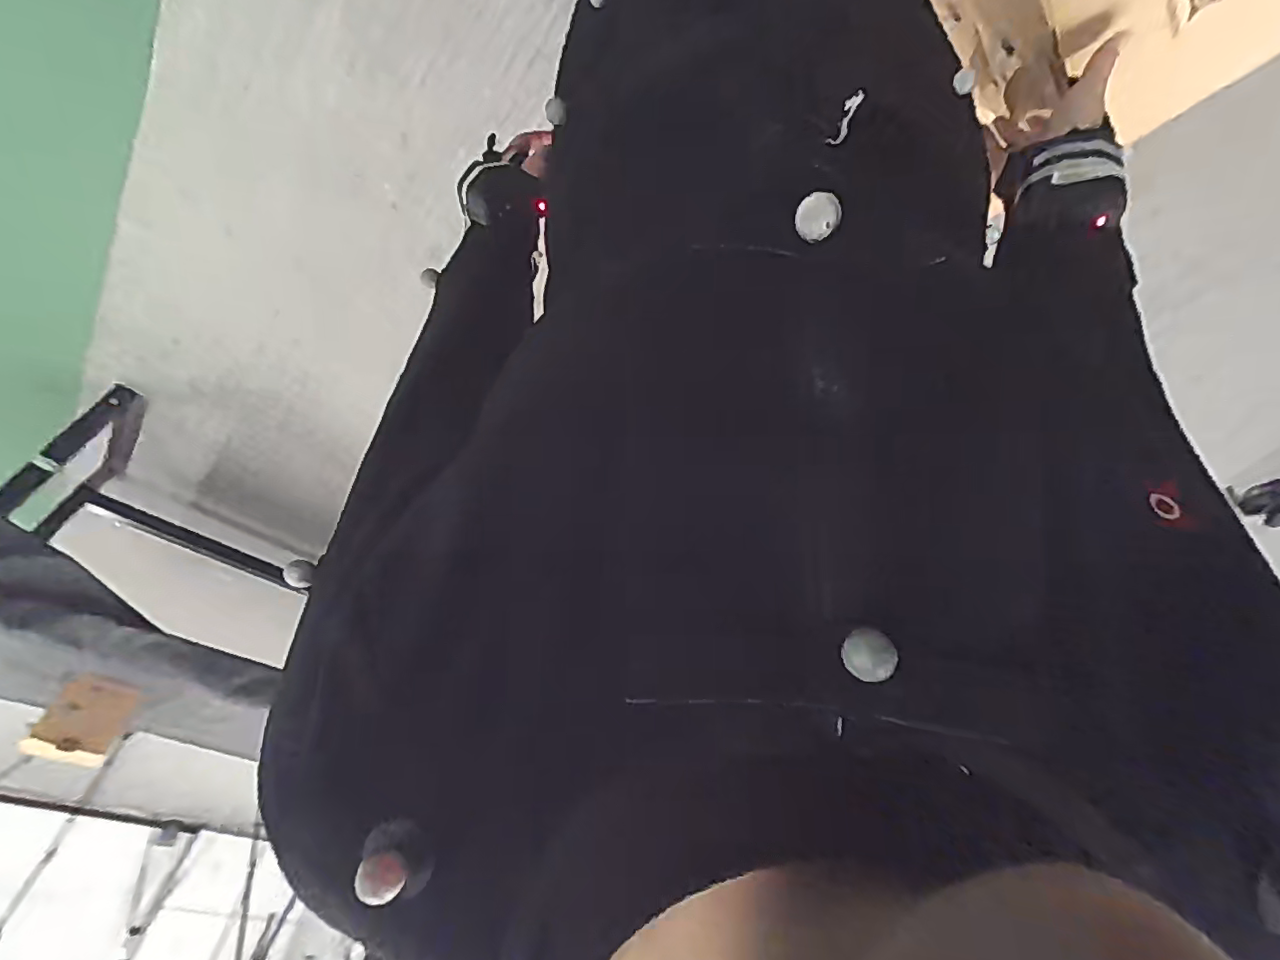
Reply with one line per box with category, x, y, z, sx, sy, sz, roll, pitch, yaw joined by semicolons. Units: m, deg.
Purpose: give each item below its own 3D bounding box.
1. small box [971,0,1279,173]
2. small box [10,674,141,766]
small box;0.430;-0.423;0.471;0.179;0.176;0.168;-29;128;31
small box;-1.454;0.621;1.401;0.179;0.176;0.168;-30;126;33
